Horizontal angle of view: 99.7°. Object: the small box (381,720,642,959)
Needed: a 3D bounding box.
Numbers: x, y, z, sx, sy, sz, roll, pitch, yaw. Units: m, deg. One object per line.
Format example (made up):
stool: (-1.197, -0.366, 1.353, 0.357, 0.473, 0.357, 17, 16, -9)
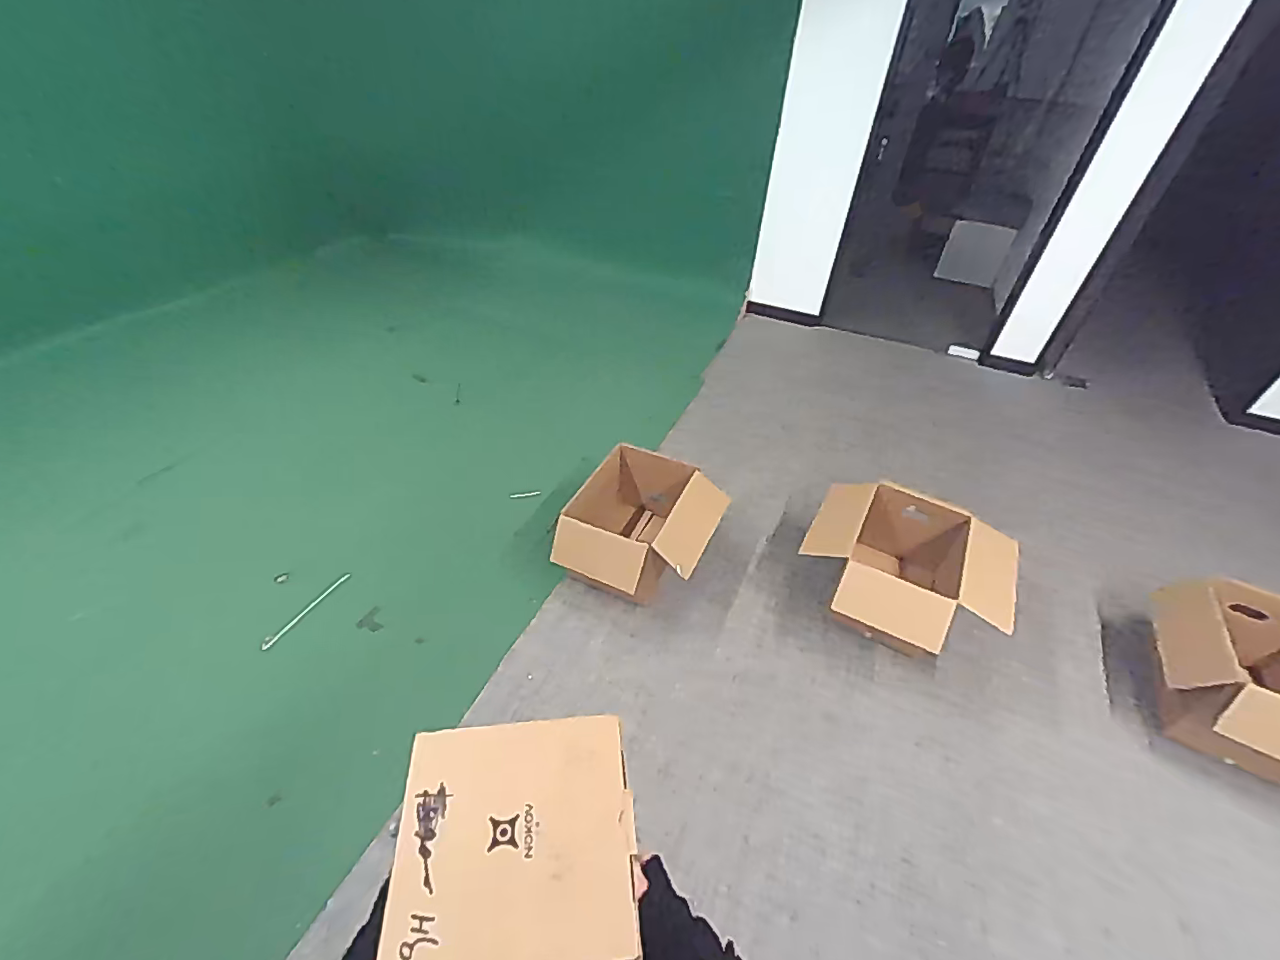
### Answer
small box: (-0.098, 0.328, 0.470, 0.179, 0.176, 0.168, -1, 43, -7)
